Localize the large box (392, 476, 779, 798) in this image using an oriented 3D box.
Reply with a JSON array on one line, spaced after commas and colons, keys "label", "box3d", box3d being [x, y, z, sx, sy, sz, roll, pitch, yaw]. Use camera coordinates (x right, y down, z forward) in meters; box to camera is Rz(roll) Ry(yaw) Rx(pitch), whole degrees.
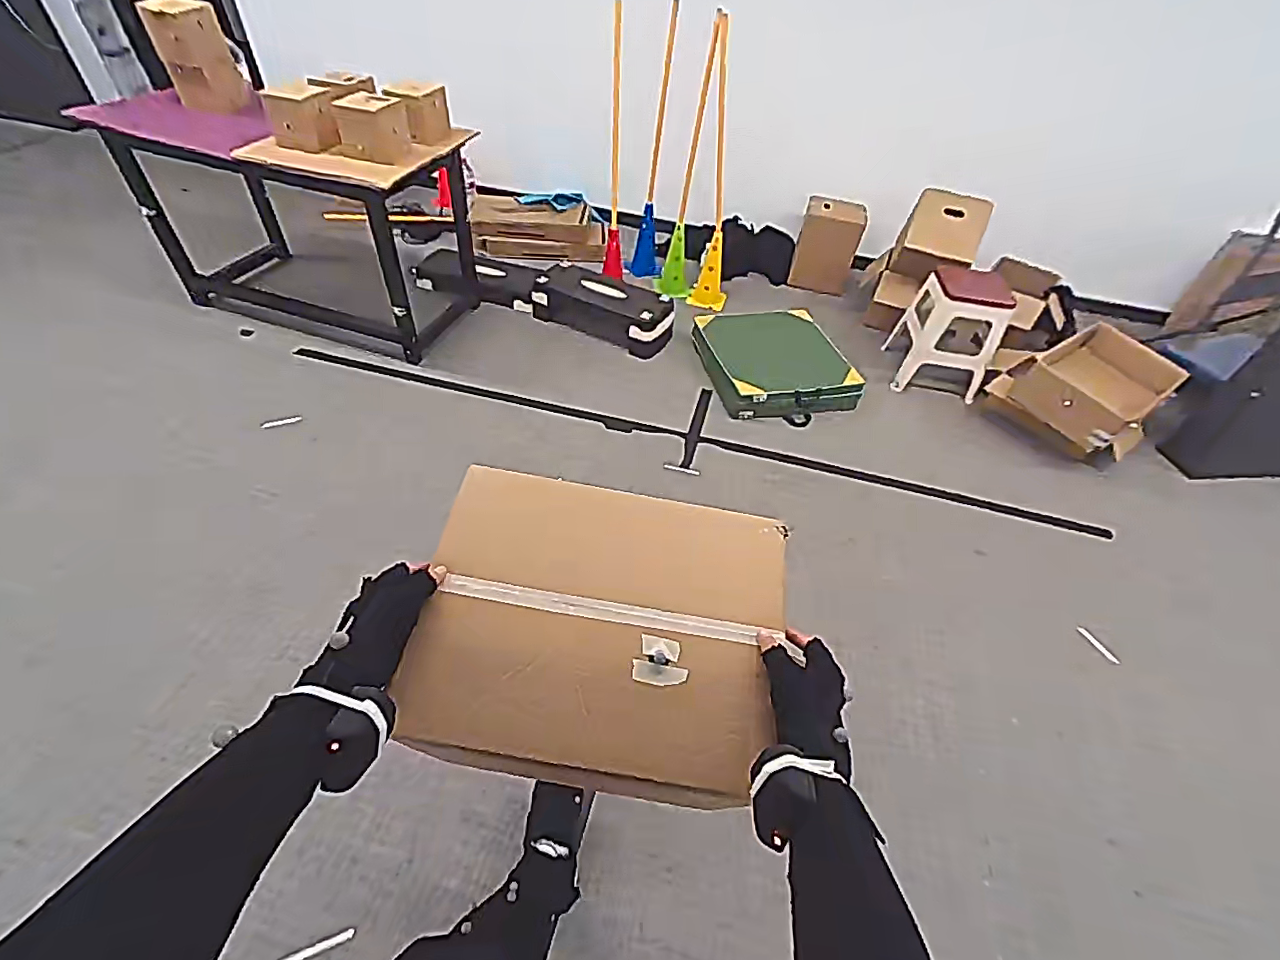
[{"label": "large box", "box3d": [-0.053, 0.230, 0.746, 0.408, 0.320, 0.320, 10, 58, -1]}]
